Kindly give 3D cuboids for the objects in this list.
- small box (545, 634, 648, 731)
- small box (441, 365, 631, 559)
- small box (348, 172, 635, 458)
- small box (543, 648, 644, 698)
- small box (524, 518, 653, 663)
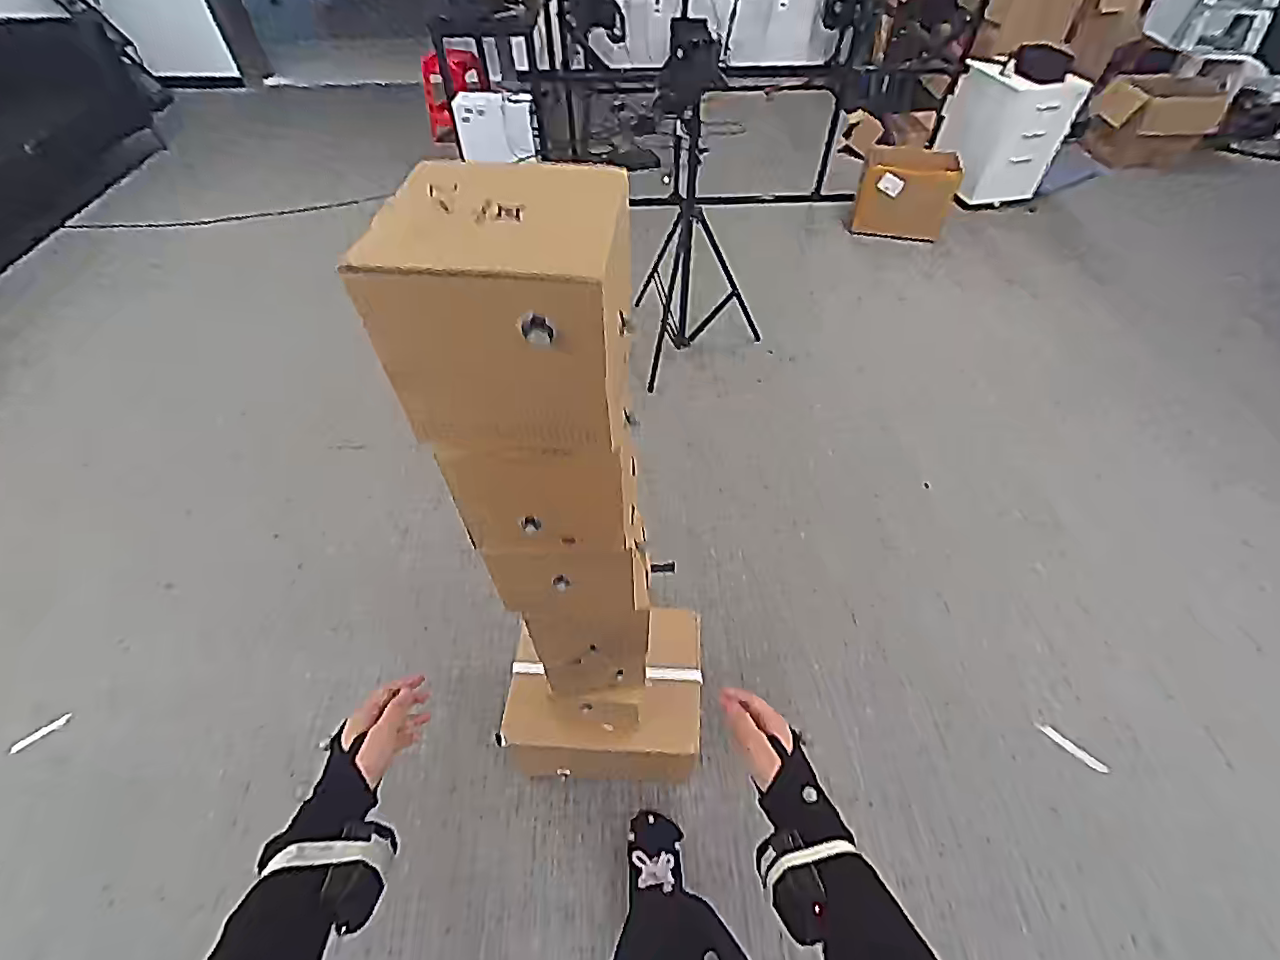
[{"bbox_3d":[-0.079,0.390,1.085,0.179,0.176,0.168,5,51,3],"label":"small box"},{"bbox_3d":[-0.095,-0.032,0.587,0.168,0.176,0.179,0,52,0],"label":"small box"},{"bbox_3d":[-0.098,-0.133,0.457,0.179,0.176,0.168,3,51,3],"label":"small box"},{"bbox_3d":[-0.084,0.275,0.969,0.168,0.176,0.179,-7,50,-7],"label":"small box"},{"bbox_3d":[-0.076,0.174,0.840,0.179,0.176,0.168,-2,51,-3],"label":"small box"}]
